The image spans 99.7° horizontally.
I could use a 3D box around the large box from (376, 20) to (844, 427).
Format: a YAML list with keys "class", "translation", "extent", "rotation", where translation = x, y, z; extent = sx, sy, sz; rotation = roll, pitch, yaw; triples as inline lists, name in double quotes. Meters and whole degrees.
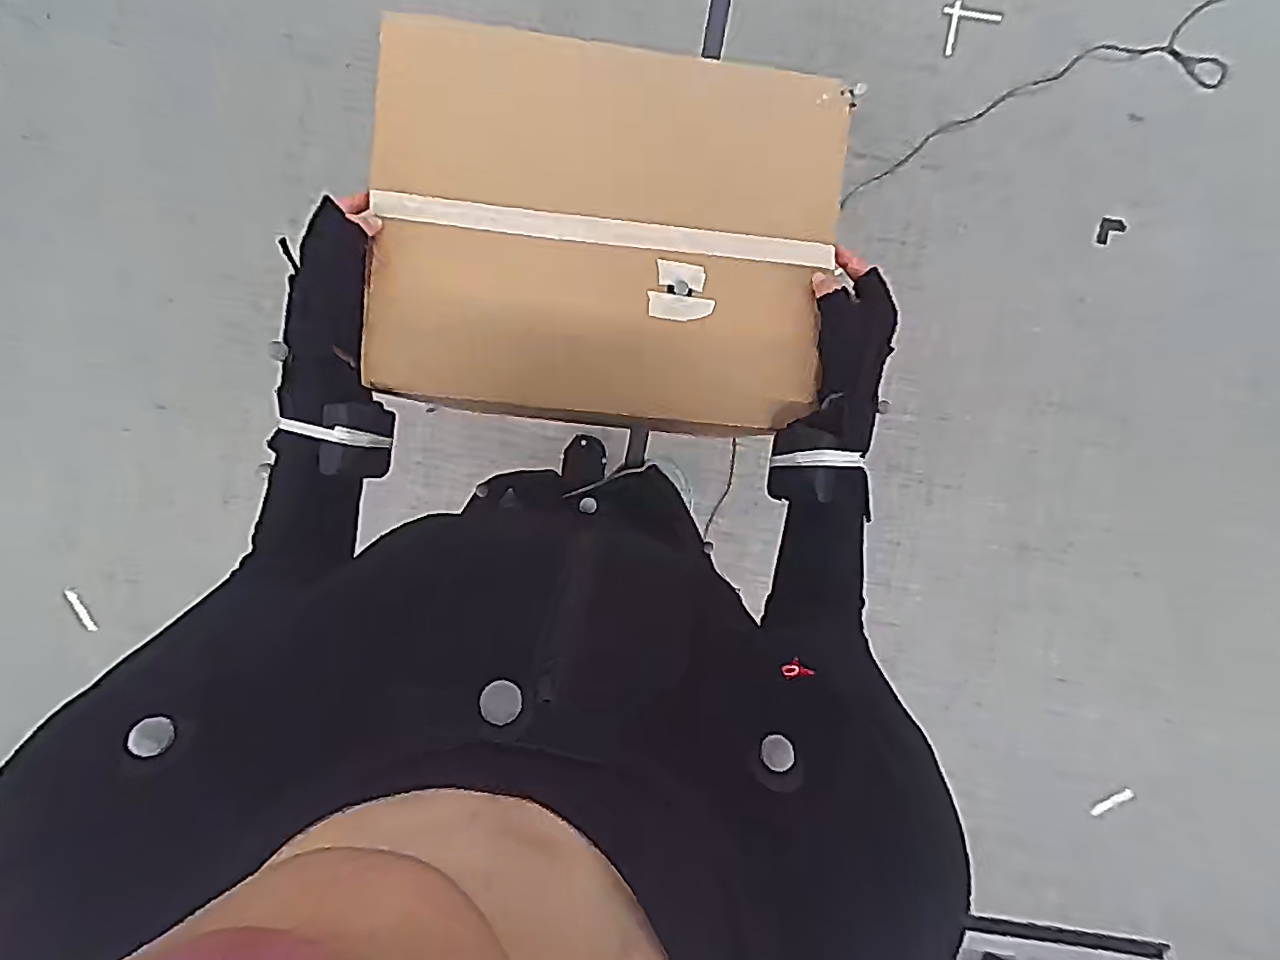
- class: "large box"
  translation: [-0.038, -0.233, 0.630]
  extent: [0.408, 0.320, 0.320]
  rotation: [5, 95, -5]
